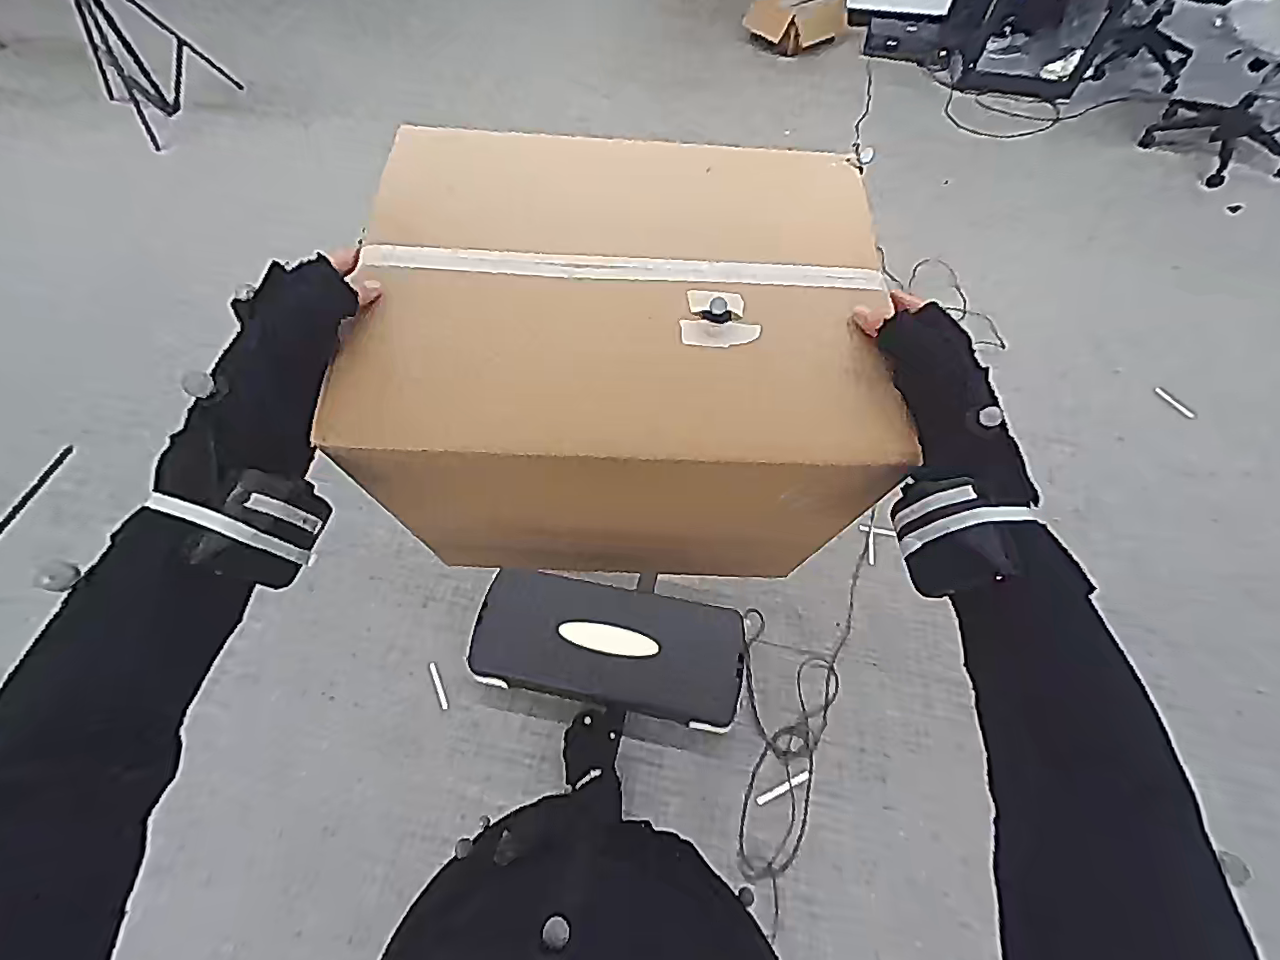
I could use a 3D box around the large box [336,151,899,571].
[{"bbox_3d":[-0.019,-0.094,0.571,0.408,0.320,0.320,2,66,-2],"label":"large box"}]
